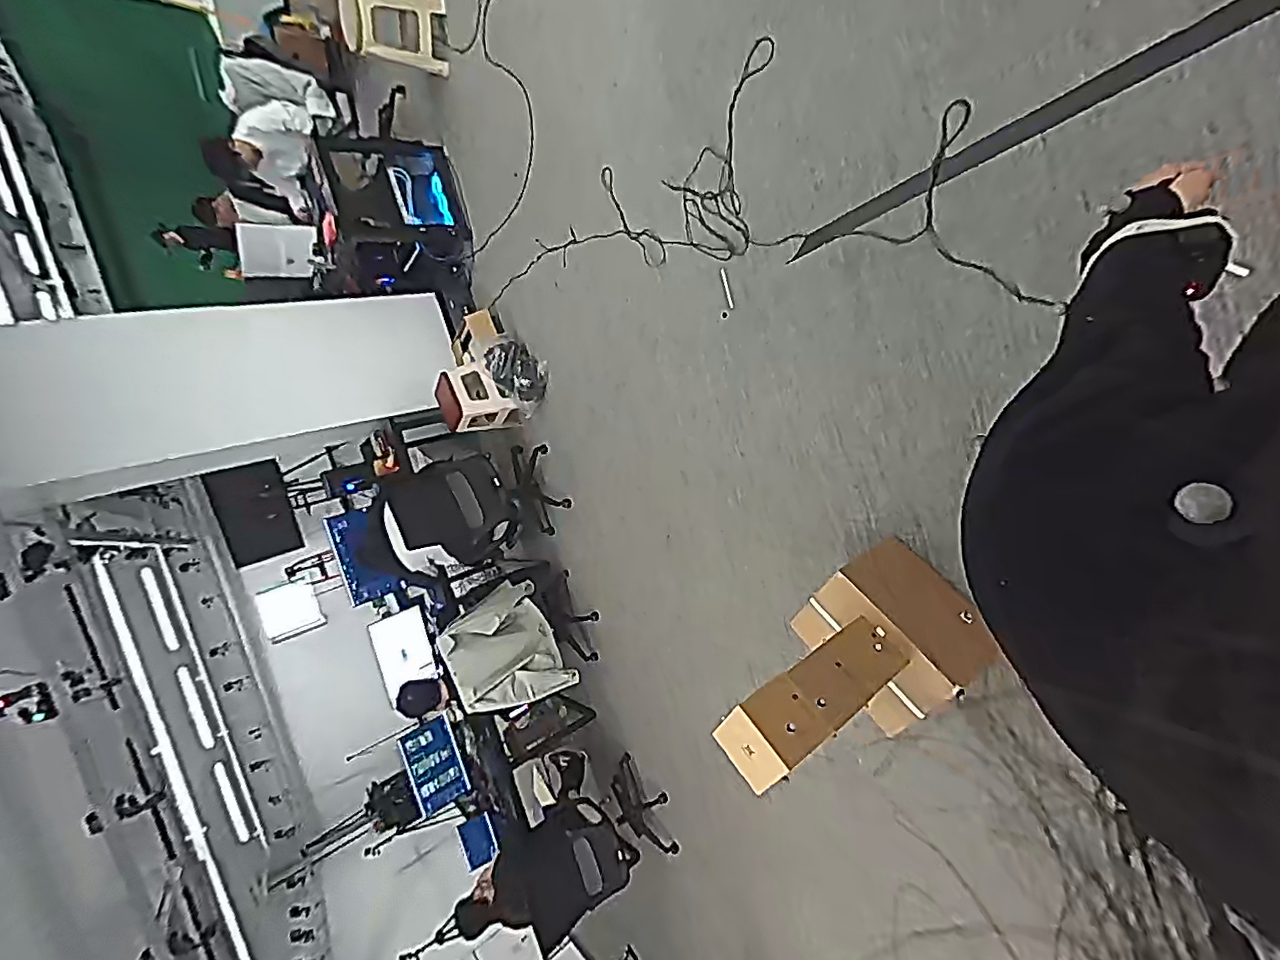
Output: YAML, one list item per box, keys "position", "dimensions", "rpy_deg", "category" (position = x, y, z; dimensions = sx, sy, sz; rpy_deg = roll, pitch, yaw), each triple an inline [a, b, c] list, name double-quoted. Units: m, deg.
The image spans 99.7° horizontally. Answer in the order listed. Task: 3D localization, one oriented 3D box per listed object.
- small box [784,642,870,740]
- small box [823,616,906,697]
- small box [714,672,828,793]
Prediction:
- position: [0.440, 0.543, 1.357]
  dimensions: [0.168, 0.176, 0.179]
  rpy_deg: [49, 141, 29]
  category: "small box"
- position: [0.569, 0.497, 1.446]
  dimensions: [0.168, 0.176, 0.179]
  rpy_deg: [49, 140, 29]
  category: "small box"
- position: [0.310, 0.583, 1.266]
  dimensions: [0.168, 0.176, 0.179]
  rpy_deg: [49, 141, 29]
  category: "small box"
